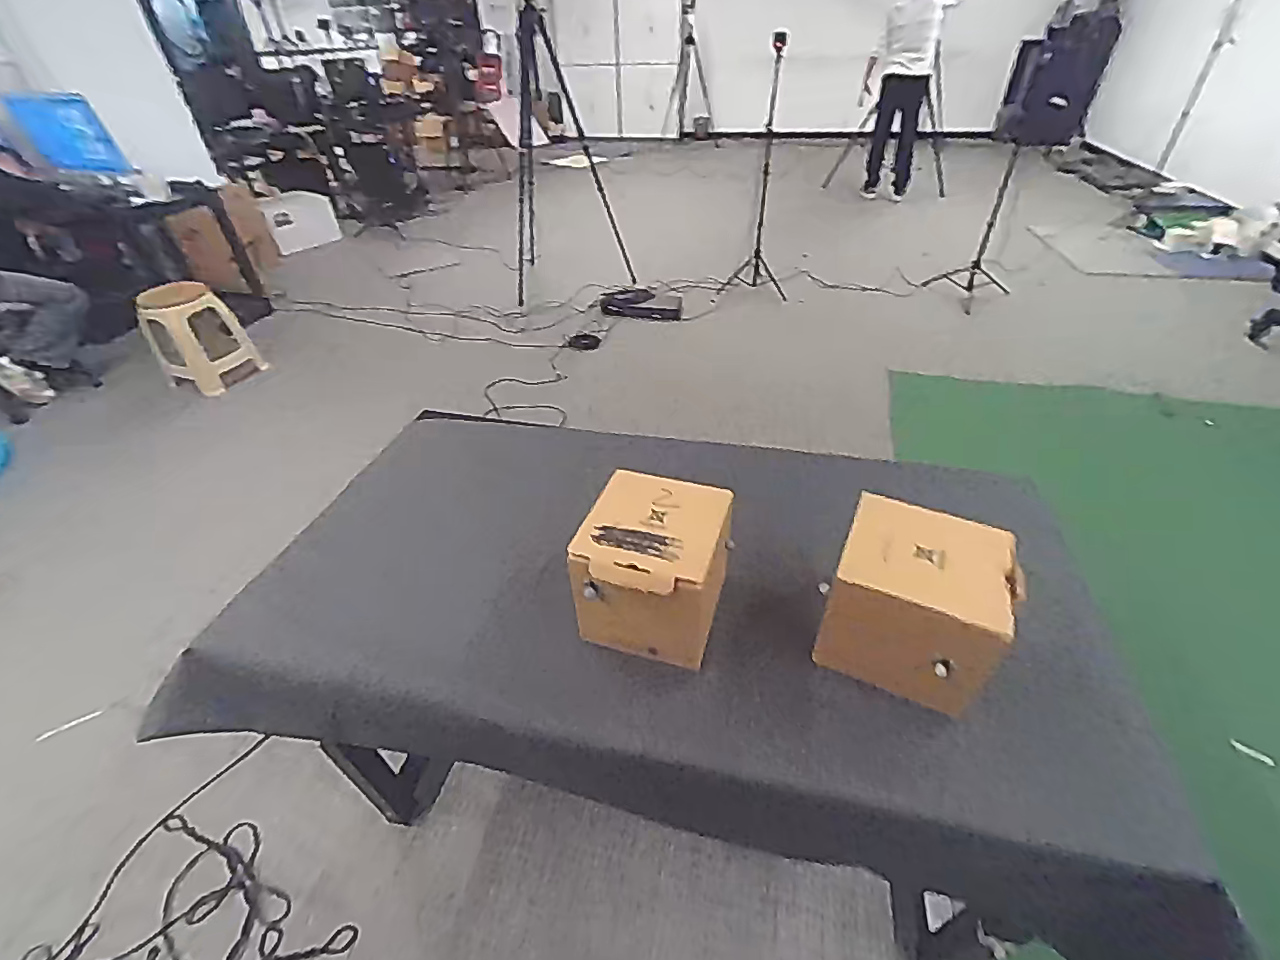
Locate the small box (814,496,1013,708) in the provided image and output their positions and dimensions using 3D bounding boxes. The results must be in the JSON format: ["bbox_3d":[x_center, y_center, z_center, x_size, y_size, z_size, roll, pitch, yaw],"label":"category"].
[{"bbox_3d":[0.334,0.152,0.674,0.179,0.176,0.168,16,42,23],"label":"small box"}]
